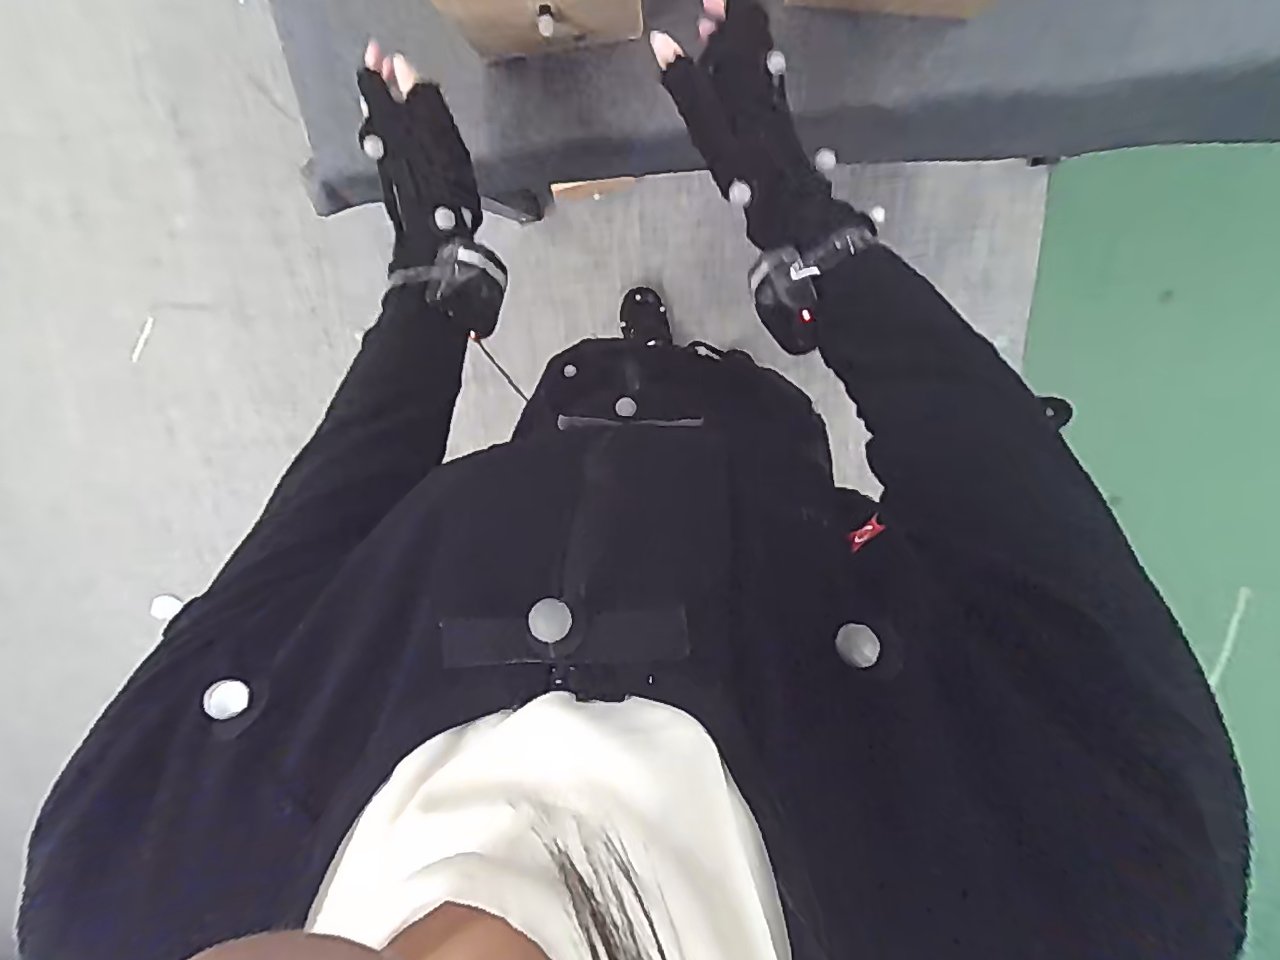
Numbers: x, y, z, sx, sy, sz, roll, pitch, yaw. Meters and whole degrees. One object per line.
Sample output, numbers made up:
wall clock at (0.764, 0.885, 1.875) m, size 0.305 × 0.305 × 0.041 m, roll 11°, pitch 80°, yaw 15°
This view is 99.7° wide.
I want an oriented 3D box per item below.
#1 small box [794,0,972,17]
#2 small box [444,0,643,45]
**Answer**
small box at (0.226, -0.495, 0.414) m, size 0.179 × 0.176 × 0.168 m, roll 8°, pitch 110°, yaw 2°
small box at (-0.090, -0.488, 0.436) m, size 0.168 × 0.176 × 0.179 m, roll -5°, pitch 110°, yaw 5°
